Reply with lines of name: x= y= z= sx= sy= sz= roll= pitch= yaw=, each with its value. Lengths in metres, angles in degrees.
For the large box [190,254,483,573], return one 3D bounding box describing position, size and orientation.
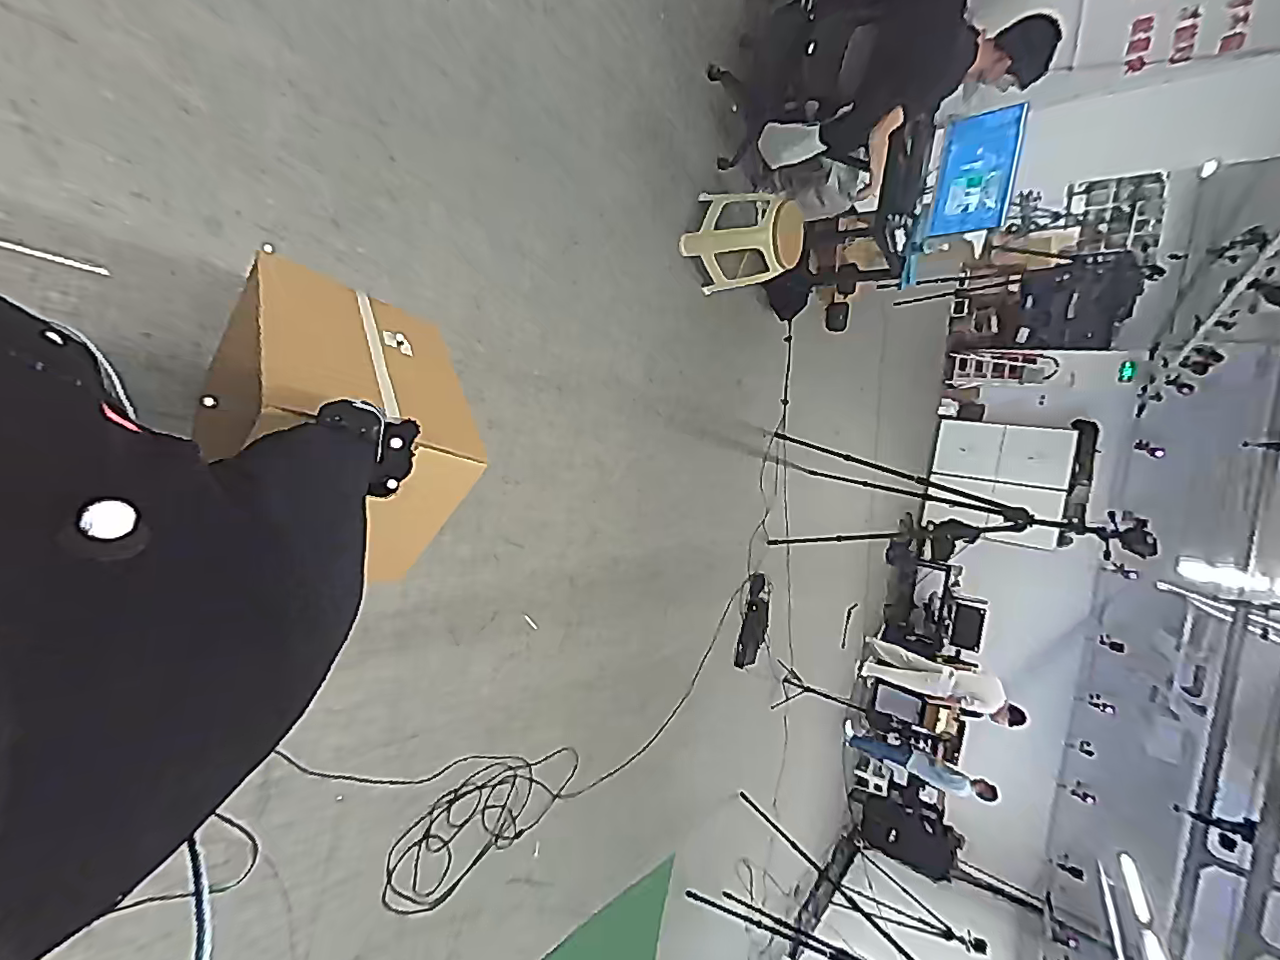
large box: x=-0.526 y=-0.095 z=0.922 sx=0.320 sy=0.408 sz=0.320 roll=19 pitch=121 yaw=-47
